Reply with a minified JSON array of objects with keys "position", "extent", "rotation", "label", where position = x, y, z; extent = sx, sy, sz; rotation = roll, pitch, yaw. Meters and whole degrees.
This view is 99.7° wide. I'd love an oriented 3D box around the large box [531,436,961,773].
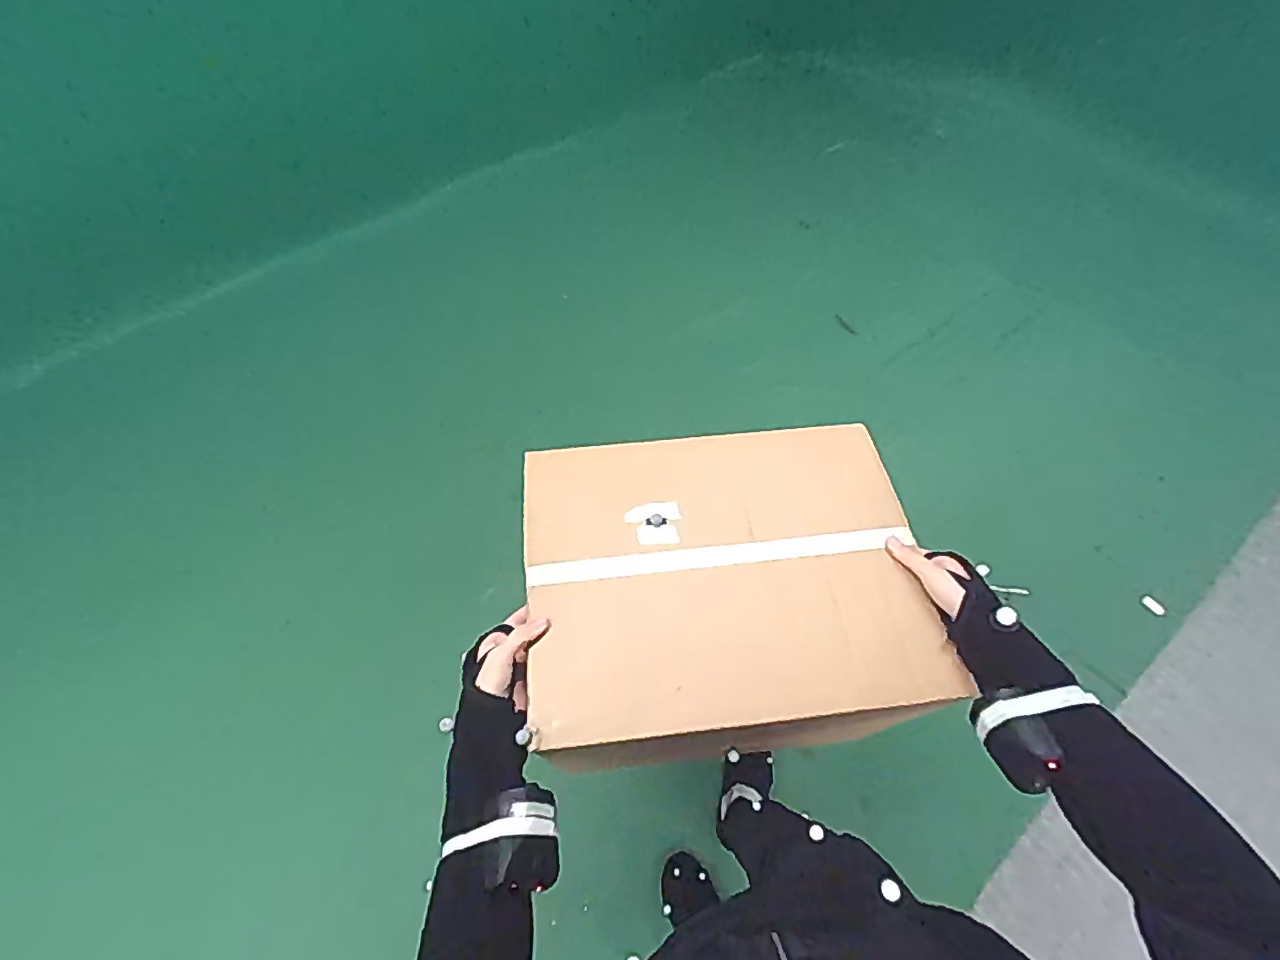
[{"position":[0.089,0.172,0.692],"extent":[0.408,0.320,0.320],"rotation":[-5,57,-3],"label":"large box"}]
